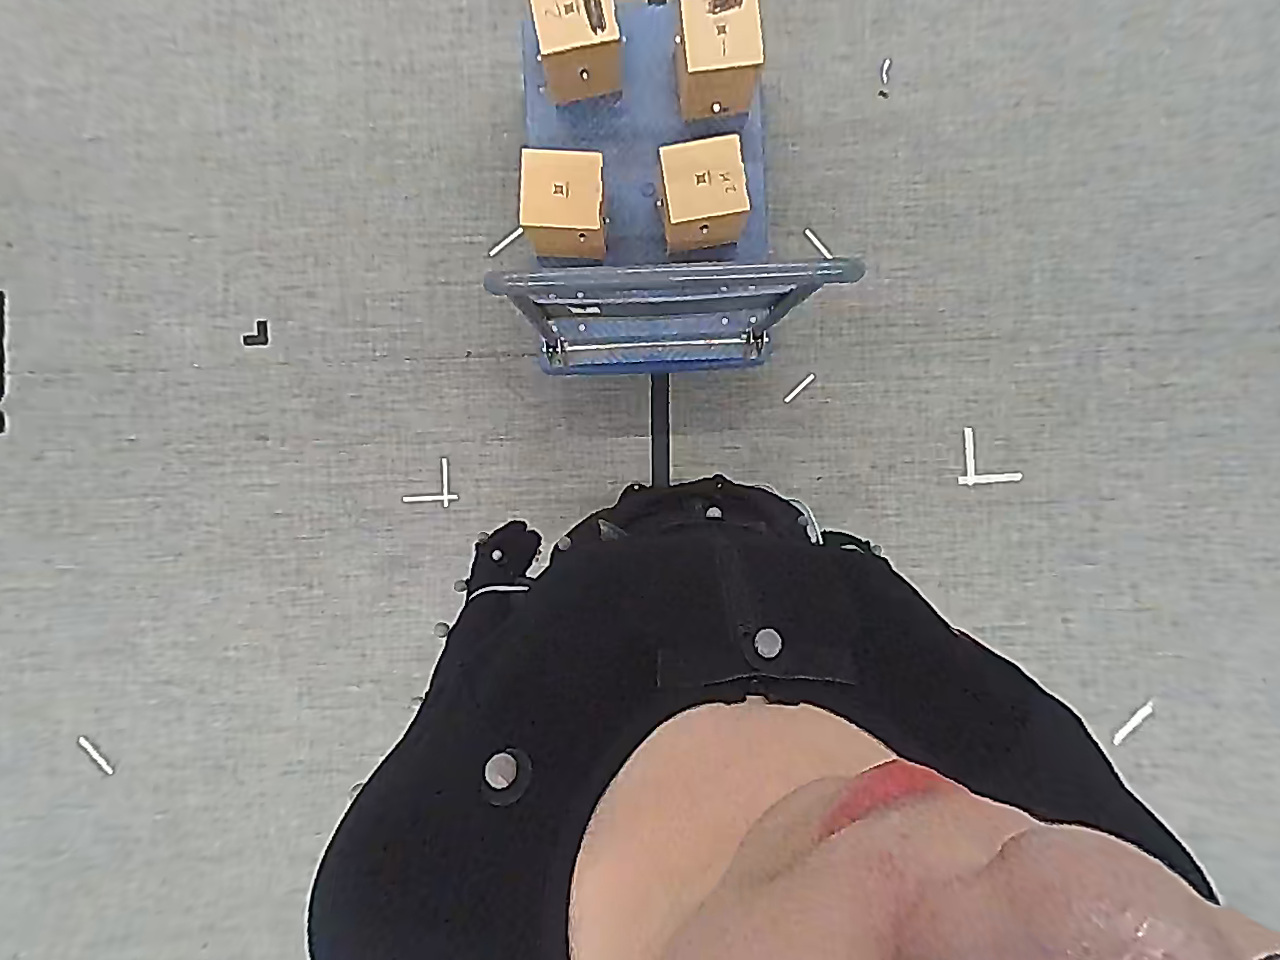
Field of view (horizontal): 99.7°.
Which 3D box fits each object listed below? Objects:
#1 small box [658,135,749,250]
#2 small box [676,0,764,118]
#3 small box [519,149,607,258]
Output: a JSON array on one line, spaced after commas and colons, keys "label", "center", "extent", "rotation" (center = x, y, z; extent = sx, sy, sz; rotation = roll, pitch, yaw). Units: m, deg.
[{"label": "small box", "center": [0.139, -0.644, 1.233], "extent": [0.179, 0.176, 0.168], "rotation": [-9, 92, 1]}, {"label": "small box", "center": [0.175, -0.963, 1.222], "extent": [0.168, 0.176, 0.179], "rotation": [-6, 93, 1]}, {"label": "small box", "center": [-0.169, -0.624, 1.236], "extent": [0.179, 0.176, 0.168], "rotation": [2, 91, -1]}]
